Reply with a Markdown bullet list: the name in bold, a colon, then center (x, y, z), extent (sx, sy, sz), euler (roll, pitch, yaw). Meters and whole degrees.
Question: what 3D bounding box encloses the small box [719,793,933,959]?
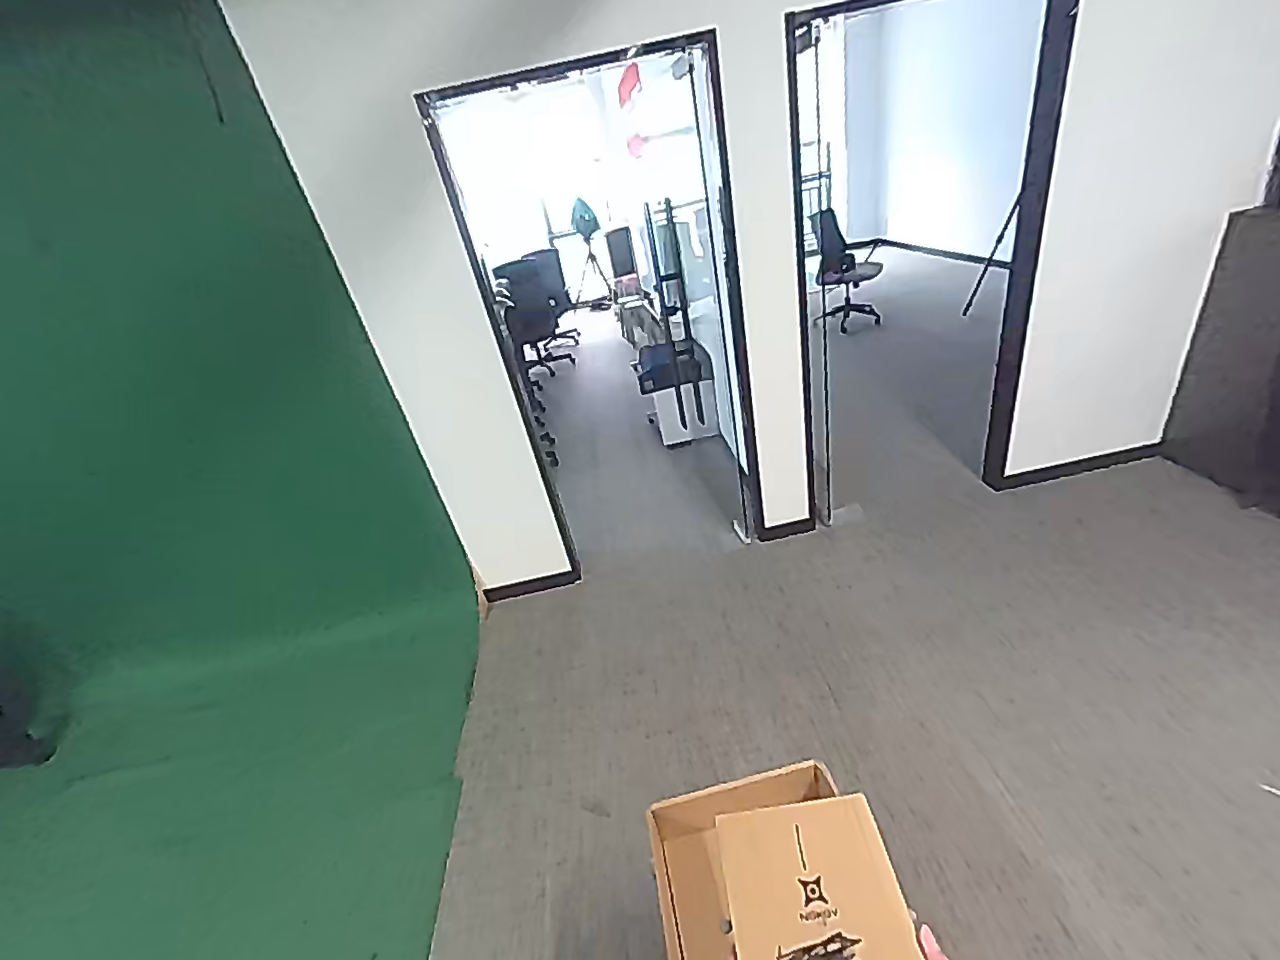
- **small box**: center (0.185, 0.461, 0.558), extent (0.168, 0.176, 0.179), euler (-11, 37, 2)
